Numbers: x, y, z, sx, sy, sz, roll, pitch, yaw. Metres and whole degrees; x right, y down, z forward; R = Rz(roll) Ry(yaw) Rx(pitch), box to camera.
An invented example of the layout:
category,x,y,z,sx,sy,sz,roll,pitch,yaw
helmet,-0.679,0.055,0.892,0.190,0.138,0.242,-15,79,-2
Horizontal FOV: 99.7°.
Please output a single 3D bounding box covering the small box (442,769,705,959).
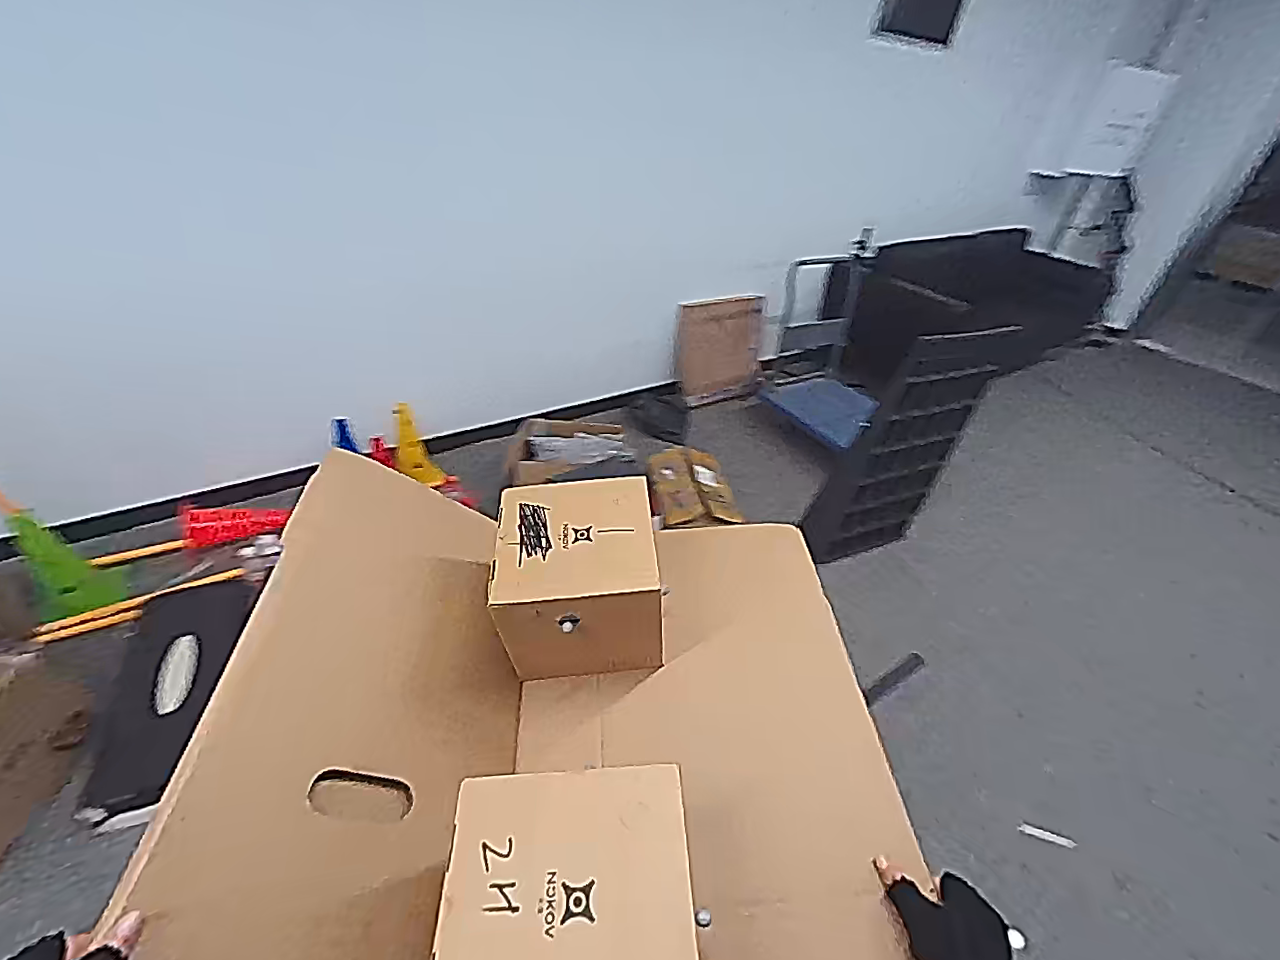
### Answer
category,x,y,z,sx,sy,sz,roll,pitch,yaw
small box,-0.042,0.349,0.436,0.179,0.176,0.168,-3,44,2
